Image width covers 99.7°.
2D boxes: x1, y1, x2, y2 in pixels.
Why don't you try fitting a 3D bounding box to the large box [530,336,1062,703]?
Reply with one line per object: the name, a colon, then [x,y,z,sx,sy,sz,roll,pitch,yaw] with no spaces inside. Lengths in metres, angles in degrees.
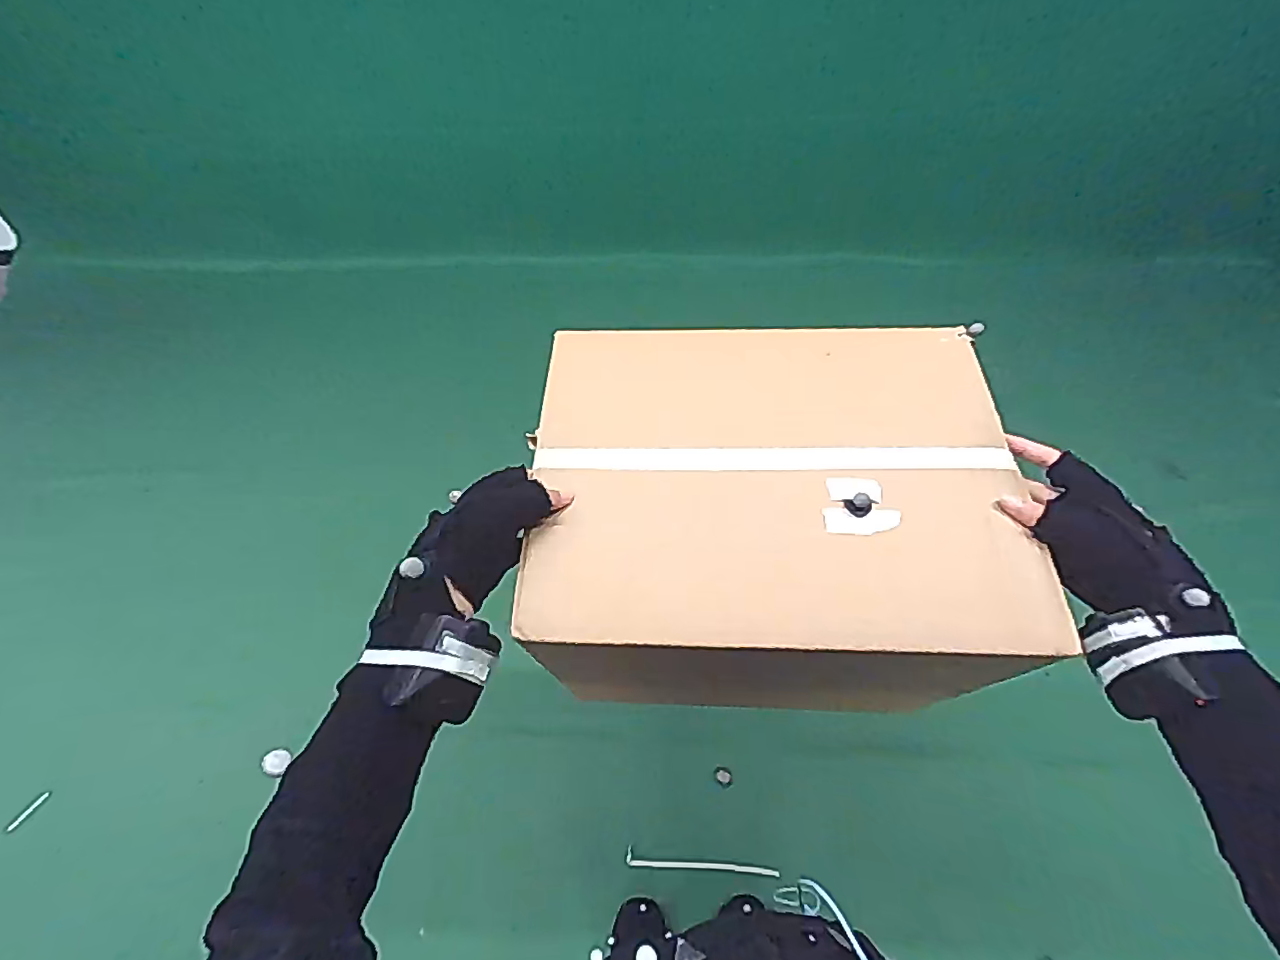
large box: [0.120,0.061,0.604,0.408,0.320,0.320,1,60,3]
